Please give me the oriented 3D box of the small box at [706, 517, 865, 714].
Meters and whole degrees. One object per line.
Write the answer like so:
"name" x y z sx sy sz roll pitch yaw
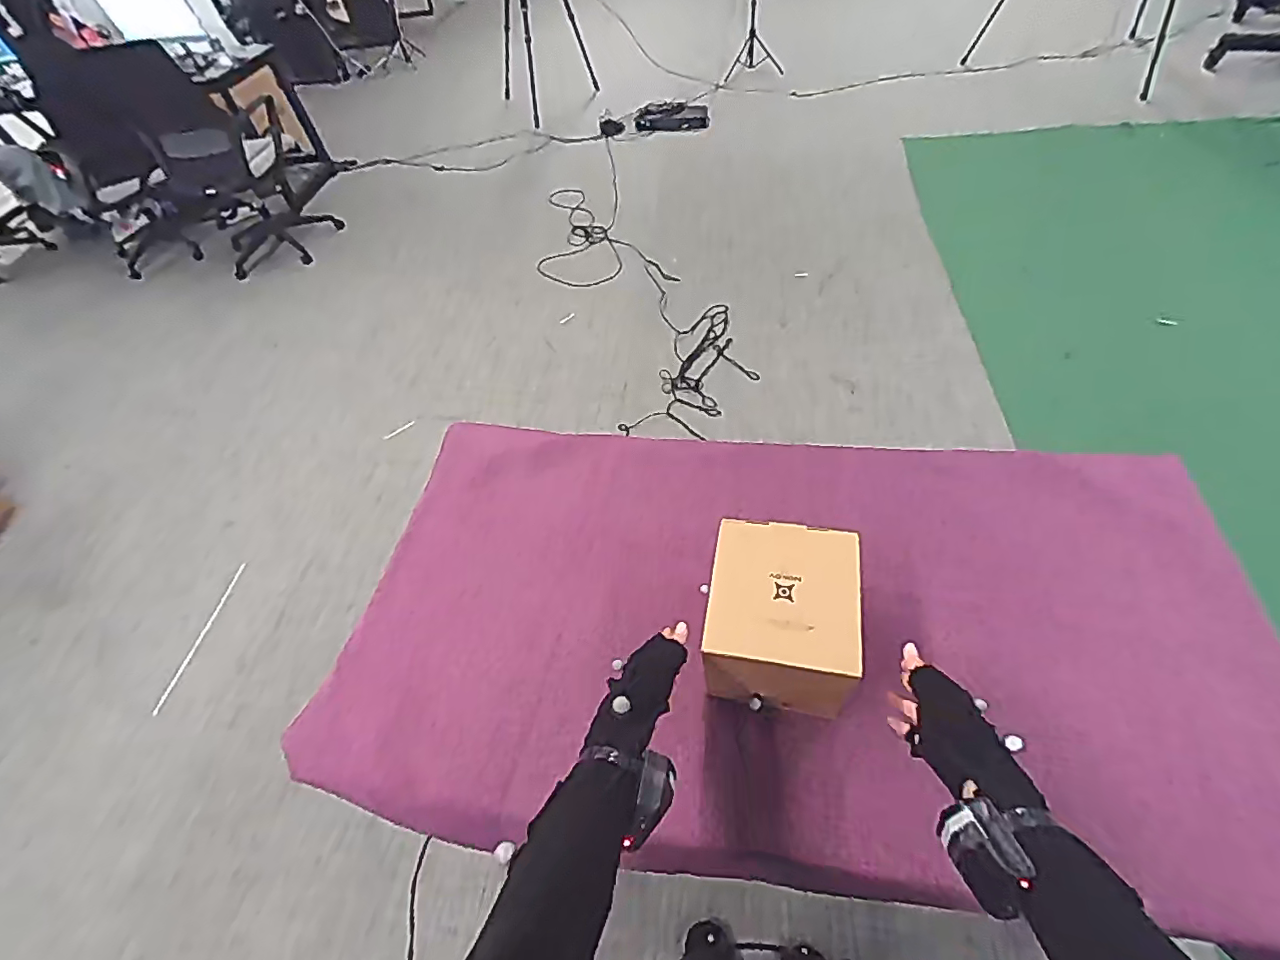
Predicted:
"small box" 0.176 0.170 0.672 0.168 0.176 0.179 5 56 13
